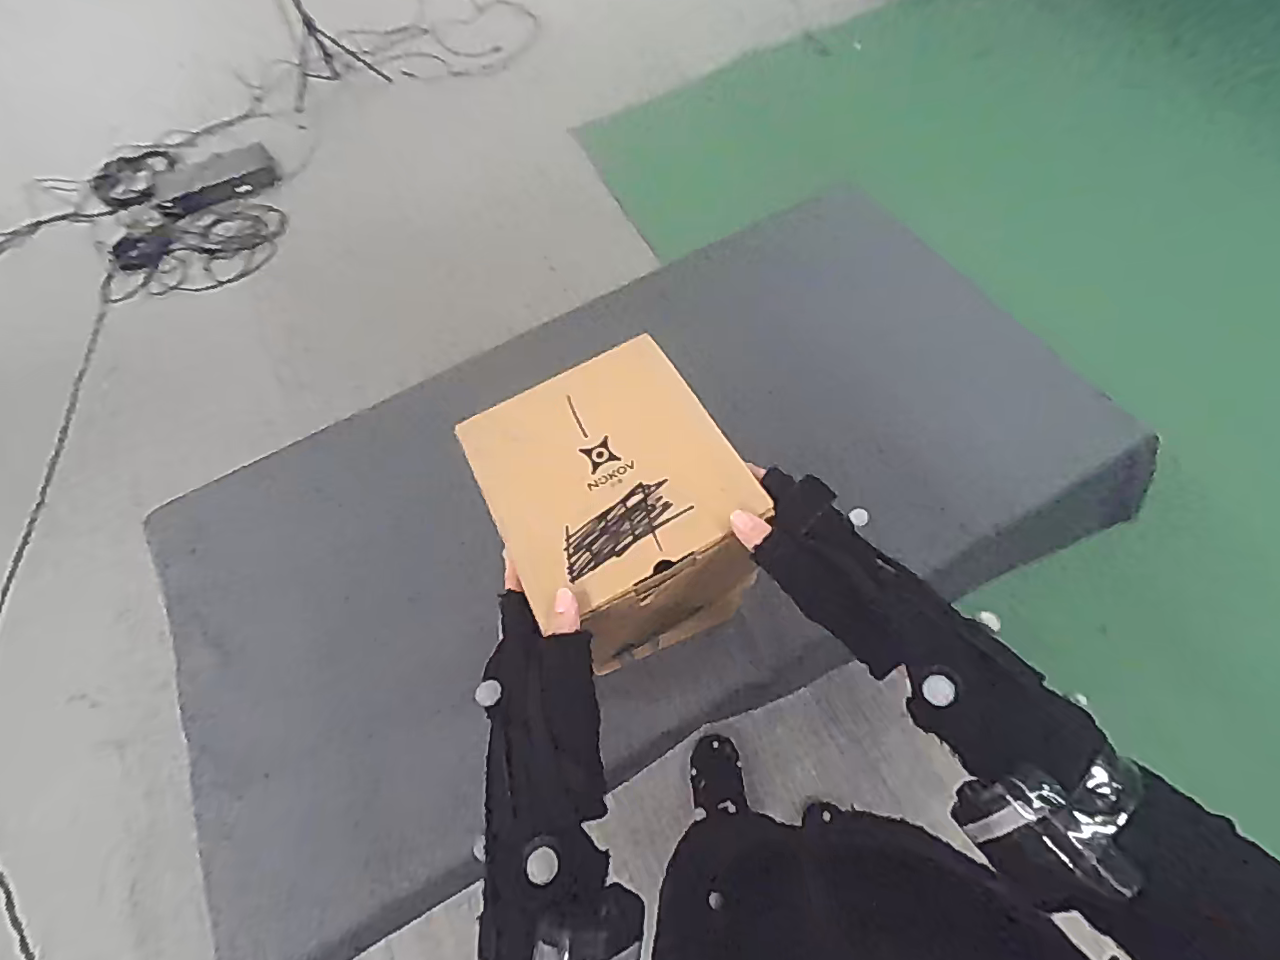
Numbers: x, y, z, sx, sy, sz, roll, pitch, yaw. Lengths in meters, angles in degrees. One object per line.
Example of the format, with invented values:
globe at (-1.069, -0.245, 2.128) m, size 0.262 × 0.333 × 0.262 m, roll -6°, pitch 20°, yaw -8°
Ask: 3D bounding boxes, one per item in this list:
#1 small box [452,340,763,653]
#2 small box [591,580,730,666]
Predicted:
small box at (-0.020, 0.027, 0.452) m, size 0.168 × 0.176 × 0.179 m, roll -31°, pitch 66°, yaw -8°
small box at (-0.008, 0.089, 0.607) m, size 0.179 × 0.176 × 0.168 m, roll -26°, pitch 63°, yaw -7°
